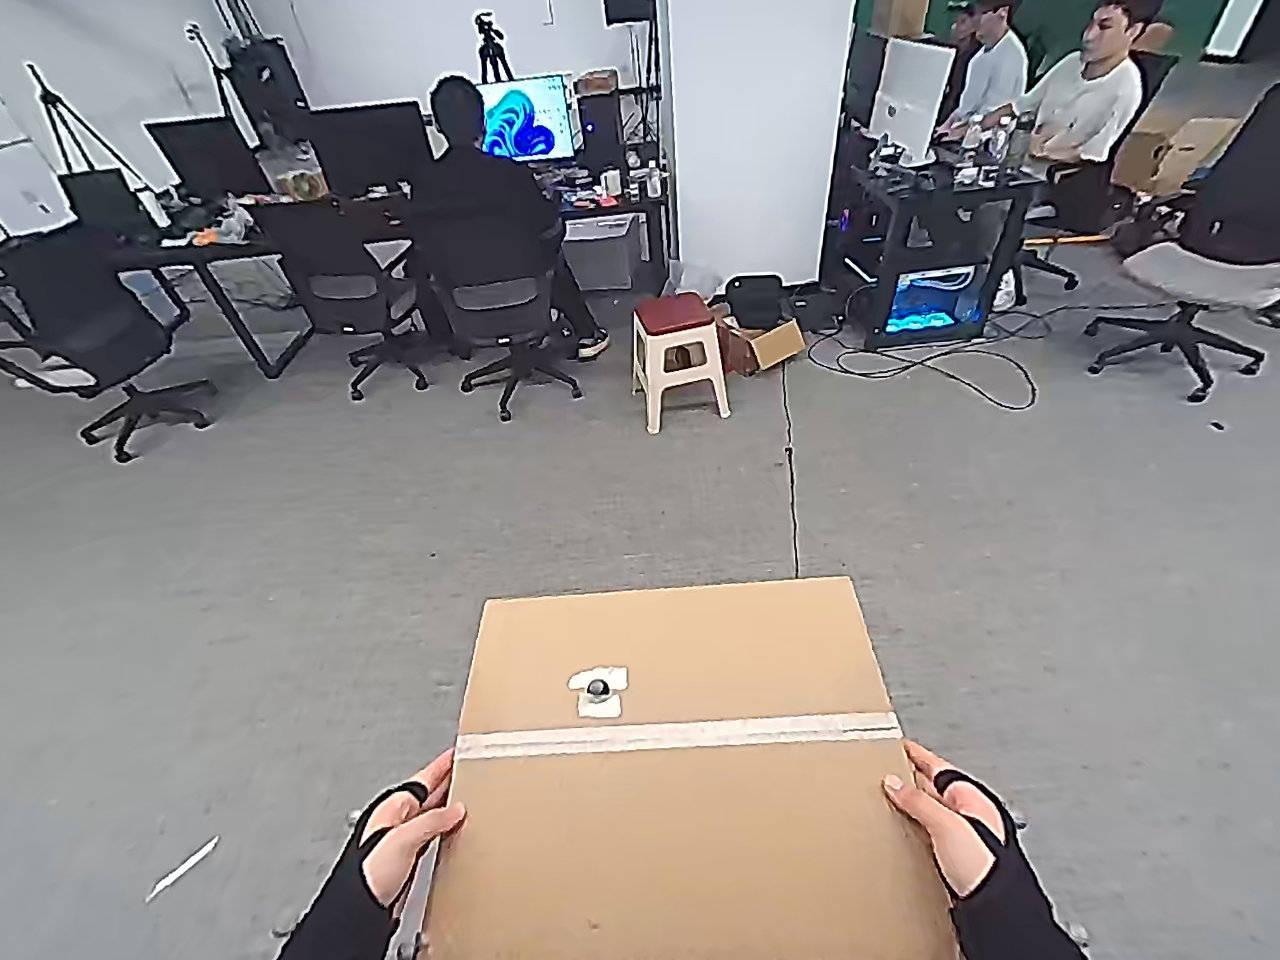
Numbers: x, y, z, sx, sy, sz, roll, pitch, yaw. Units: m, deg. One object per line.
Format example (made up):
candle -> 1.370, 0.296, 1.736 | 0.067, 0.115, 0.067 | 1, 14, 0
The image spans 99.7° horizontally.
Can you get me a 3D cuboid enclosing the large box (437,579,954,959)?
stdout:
large box -> 0.052, 0.341, 0.618 | 0.408, 0.320, 0.320 | -6, 47, 5
